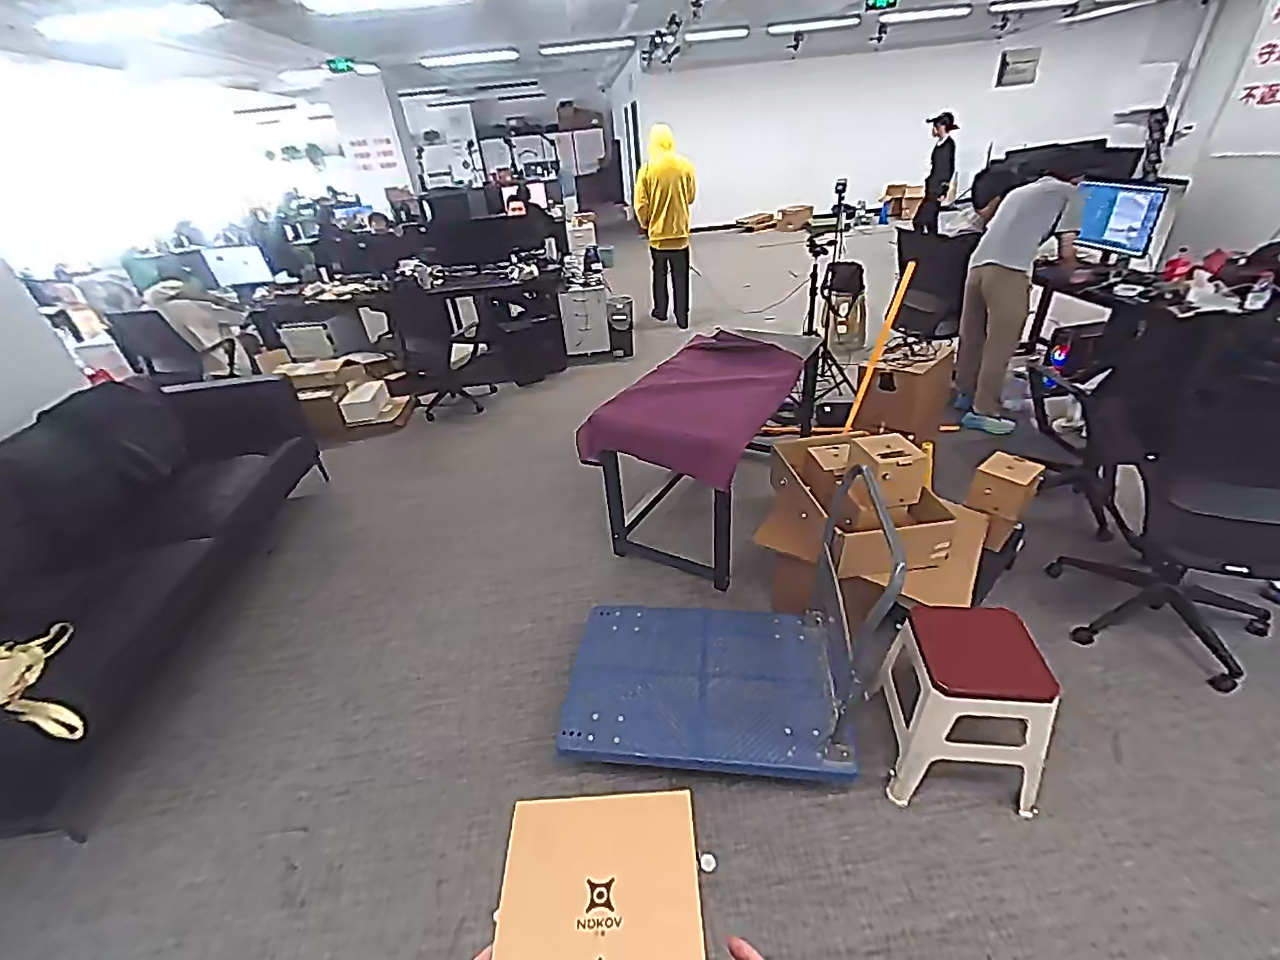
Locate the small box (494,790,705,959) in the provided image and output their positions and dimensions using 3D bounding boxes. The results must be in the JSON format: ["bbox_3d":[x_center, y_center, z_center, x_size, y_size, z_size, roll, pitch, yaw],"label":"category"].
[{"bbox_3d":[-0.026,0.414,0.491,0.168,0.176,0.179,-4,36,2],"label":"small box"}]
